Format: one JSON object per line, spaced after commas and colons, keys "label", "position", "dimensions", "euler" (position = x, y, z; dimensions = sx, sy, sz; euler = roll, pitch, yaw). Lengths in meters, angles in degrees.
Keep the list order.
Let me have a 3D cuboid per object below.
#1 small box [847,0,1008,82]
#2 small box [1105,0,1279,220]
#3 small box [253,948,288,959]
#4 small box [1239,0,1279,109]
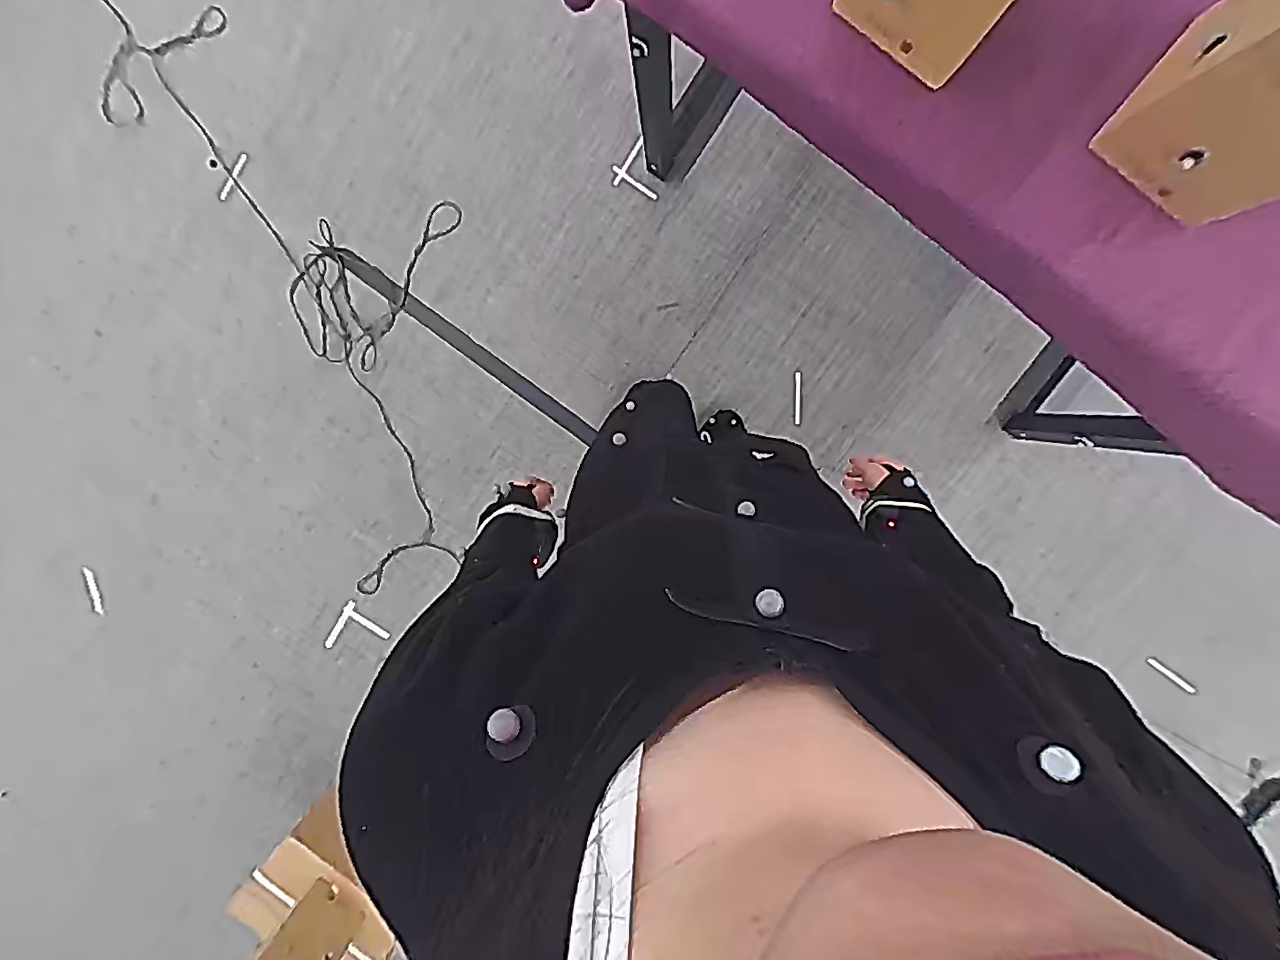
{"label": "small box", "position": [0.344, -0.583, 0.570], "dimensions": [0.168, 0.176, 0.179], "euler": [37, 98, -2]}
{"label": "small box", "position": [0.657, -0.415, 0.573], "dimensions": [0.168, 0.176, 0.179], "euler": [39, 98, -3]}
{"label": "small box", "position": [-0.843, 1.179, 1.166], "dimensions": [0.168, 0.176, 0.179], "euler": [40, 98, -2]}
{"label": "small box", "position": [0.651, -0.393, 0.411], "dimensions": [0.168, 0.176, 0.179], "euler": [38, 99, -2]}
